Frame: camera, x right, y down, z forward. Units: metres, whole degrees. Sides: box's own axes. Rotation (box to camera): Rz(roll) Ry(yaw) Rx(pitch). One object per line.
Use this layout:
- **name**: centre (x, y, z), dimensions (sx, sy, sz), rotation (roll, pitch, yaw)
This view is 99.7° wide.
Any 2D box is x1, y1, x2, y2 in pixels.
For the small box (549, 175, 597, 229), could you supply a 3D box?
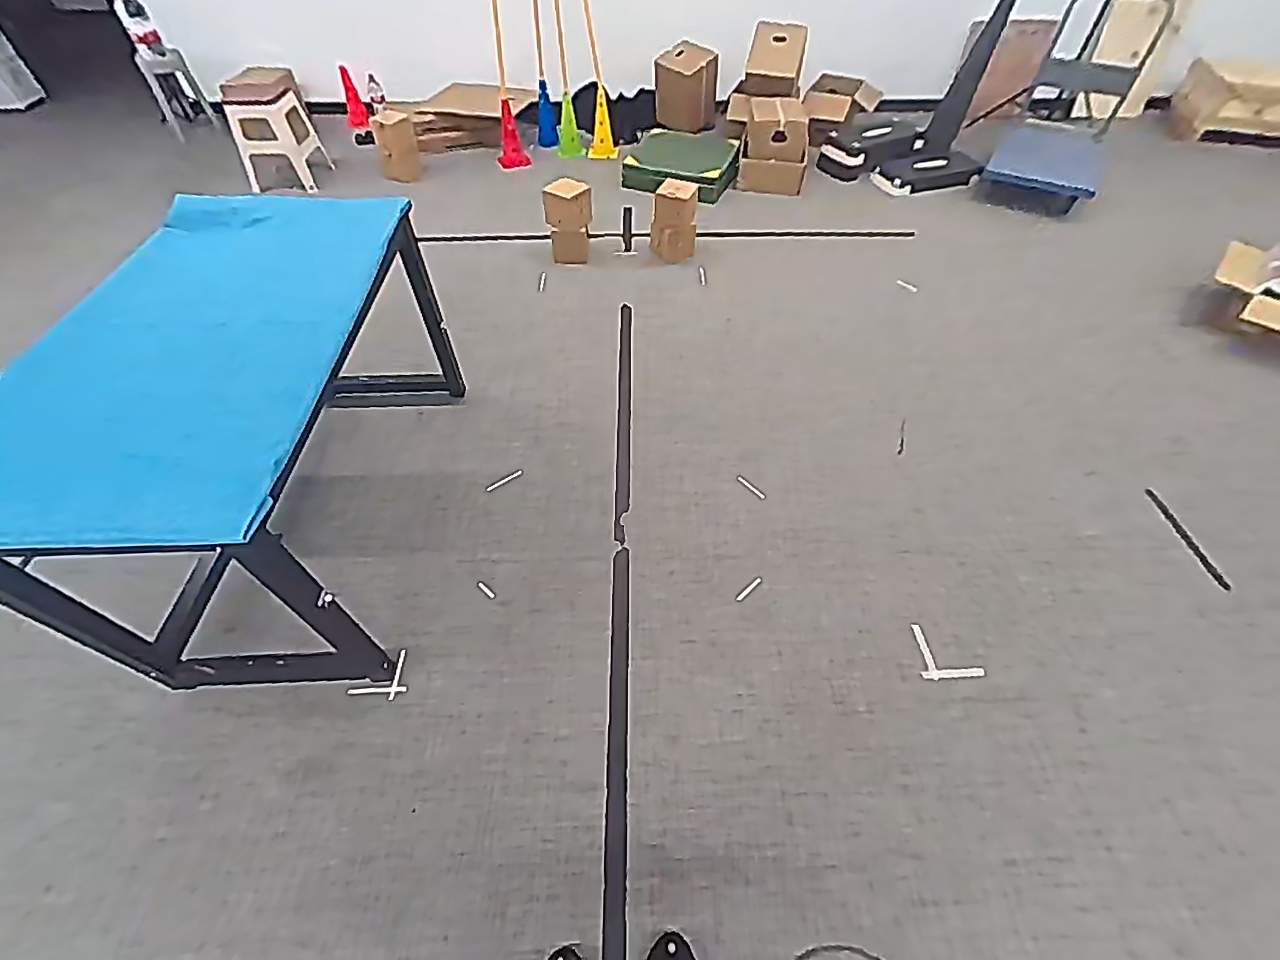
- **small box**: centre (-0.330, -1.370, 2.658), dimensions (0.179, 0.176, 0.168), rotation (28, 56, 19)

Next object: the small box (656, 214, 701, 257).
- **small box**: centre (0.198, -1.280, 2.801), dimensions (0.179, 0.176, 0.168), rotation (-27, 56, -21)

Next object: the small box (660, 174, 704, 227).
- **small box**: centre (0.204, -1.373, 2.664), dimensions (0.168, 0.176, 0.179), rotation (19, 54, 12)

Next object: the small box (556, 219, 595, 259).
- **small box**: centre (-0.327, -1.256, 2.781), dimensions (0.179, 0.176, 0.168), rotation (0, 51, 2)
